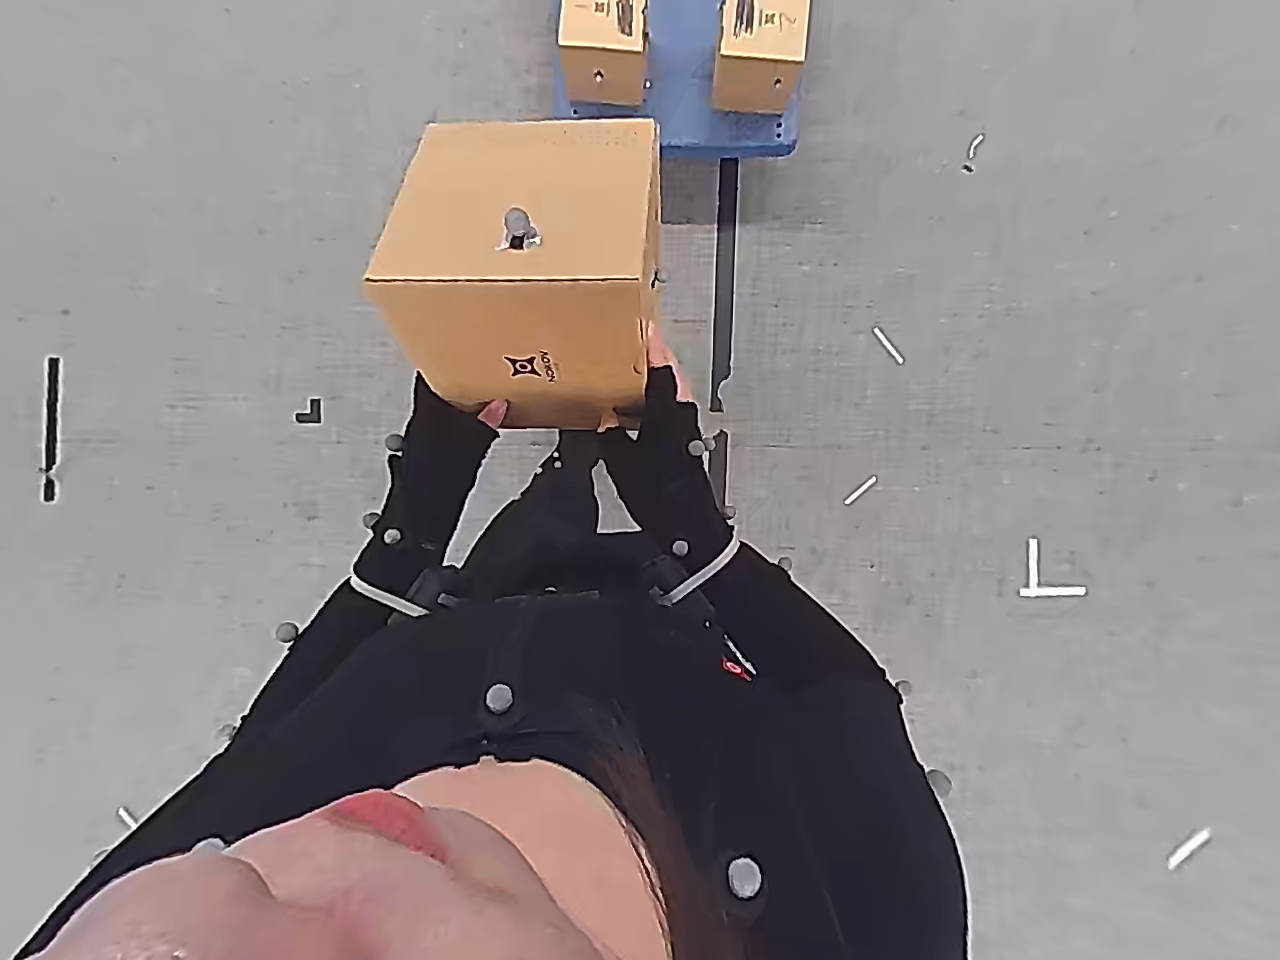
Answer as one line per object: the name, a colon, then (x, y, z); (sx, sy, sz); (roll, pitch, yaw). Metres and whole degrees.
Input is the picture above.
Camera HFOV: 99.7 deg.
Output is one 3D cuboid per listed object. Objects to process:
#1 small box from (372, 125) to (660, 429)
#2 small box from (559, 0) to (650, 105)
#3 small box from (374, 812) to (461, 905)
small box: (-0.076, -0.159, 0.440); (0.179, 0.168, 0.176); (1, 62, 4)
small box: (-0.070, -0.959, 1.182); (0.179, 0.176, 0.168); (6, 91, 2)
small box: (-0.585, 1.023, 1.436); (0.168, 0.176, 0.179); (-1, 91, 1)
